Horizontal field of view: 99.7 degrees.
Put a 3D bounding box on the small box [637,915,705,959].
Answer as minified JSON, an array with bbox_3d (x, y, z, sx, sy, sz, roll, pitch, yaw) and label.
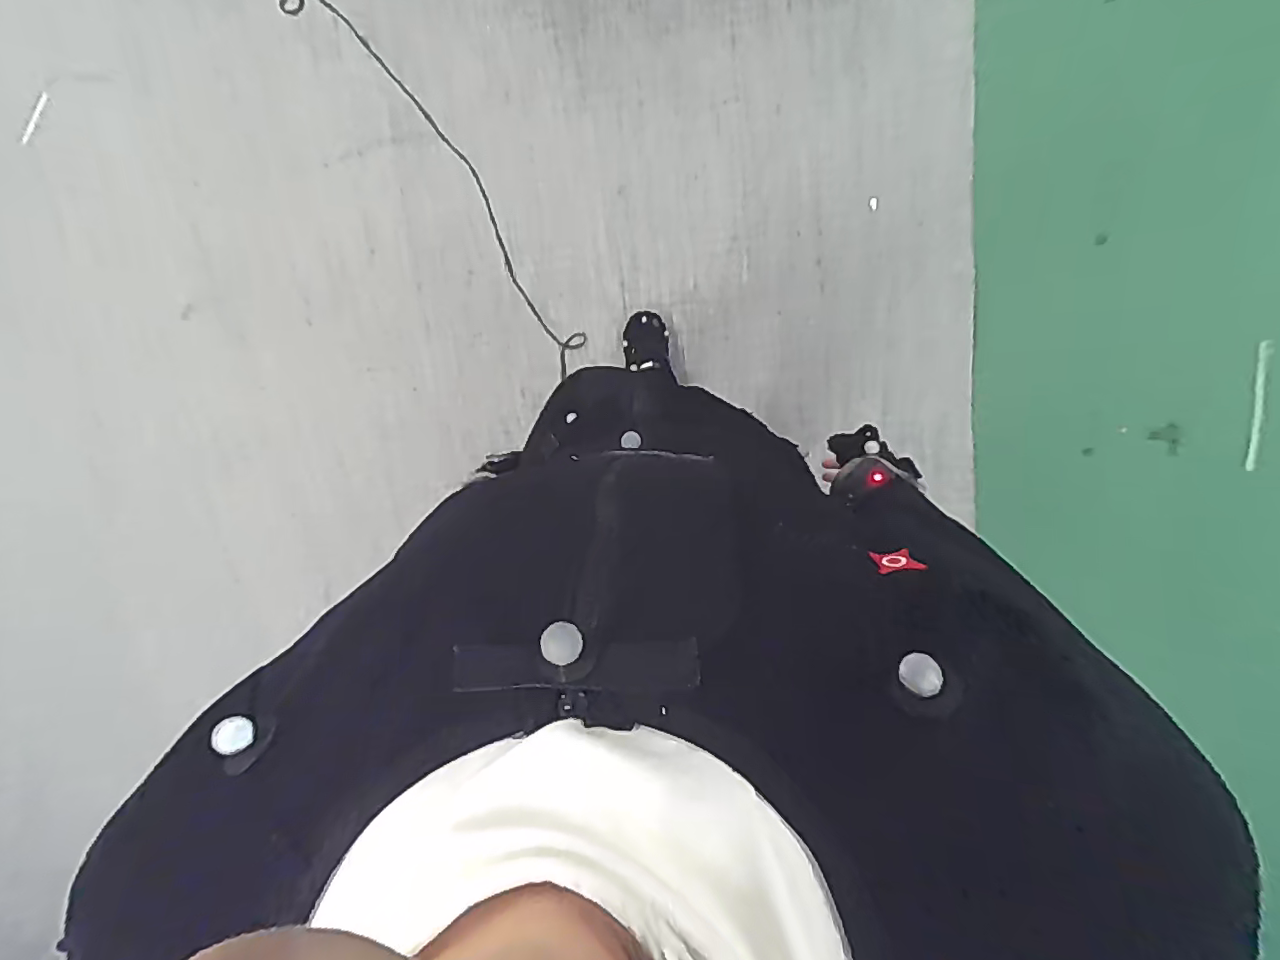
[{"bbox_3d":[0.081,1.294,1.426,0.179,0.176,0.168,-1,102,3],"label":"small box"}]
